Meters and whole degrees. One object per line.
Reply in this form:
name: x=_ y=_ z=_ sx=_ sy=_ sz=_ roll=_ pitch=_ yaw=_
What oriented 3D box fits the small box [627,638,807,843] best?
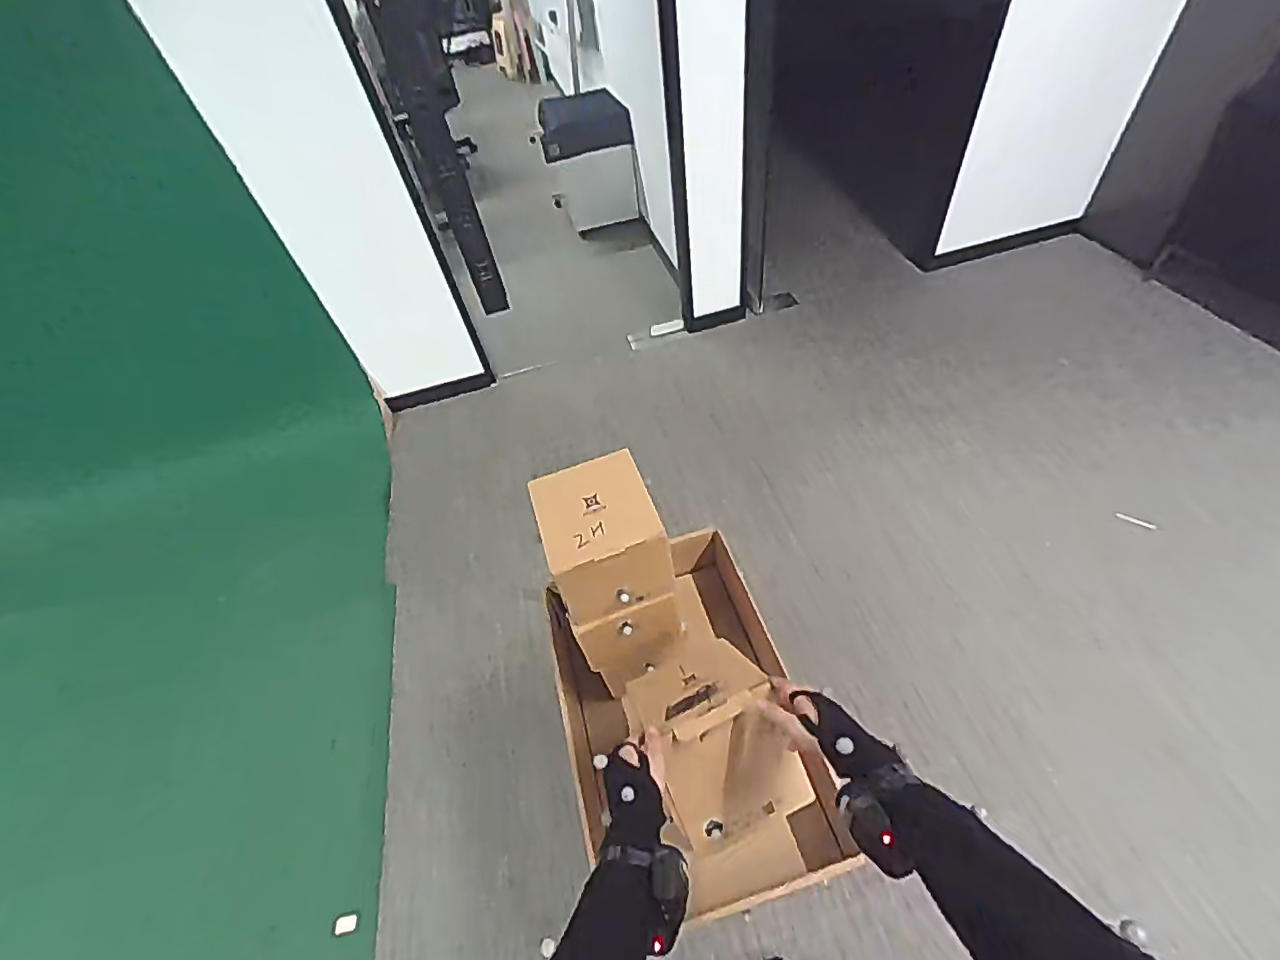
small box: x=0.098 y=0.346 z=0.732 sx=0.168 sy=0.179 sz=0.176 roll=-22 pitch=93 yaw=-9

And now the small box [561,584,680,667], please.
small box: x=-0.036 y=0.202 z=0.960 sx=0.179 sy=0.176 sz=0.168 roll=-21 pitch=51 yaw=-7

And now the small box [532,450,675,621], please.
small box: x=-0.054 y=0.089 z=0.842 sx=0.168 sy=0.176 sz=0.179 roll=-20 pitch=51 yaw=-5

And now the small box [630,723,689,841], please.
small box: x=0.103 y=0.483 z=0.919 sx=0.168 sy=0.176 sz=0.179 roll=-26 pitch=51 yaw=-13
